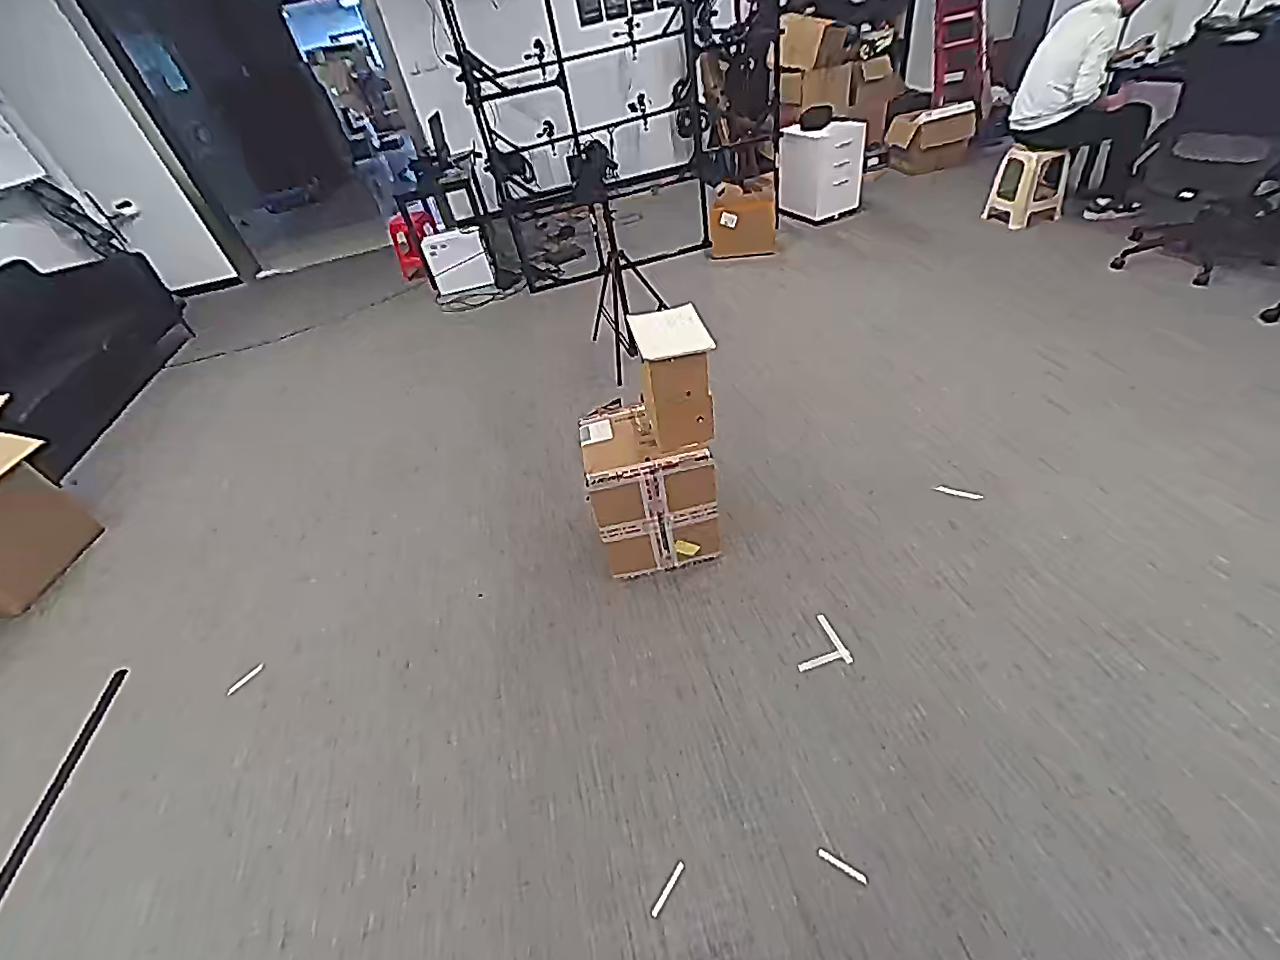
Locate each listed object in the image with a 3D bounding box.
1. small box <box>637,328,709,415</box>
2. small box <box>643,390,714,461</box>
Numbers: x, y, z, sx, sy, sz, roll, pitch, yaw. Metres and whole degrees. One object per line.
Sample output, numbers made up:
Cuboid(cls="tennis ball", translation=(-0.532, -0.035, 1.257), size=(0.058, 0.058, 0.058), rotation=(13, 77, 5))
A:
Cuboid(cls="small box", translation=(0.095, -0.311, 1.555), size=(0.168, 0.176, 0.179), rotation=(-14, 42, -5))
Cuboid(cls="small box", translation=(0.121, -0.185, 1.657), size=(0.179, 0.176, 0.168), rotation=(-16, 42, -6))
